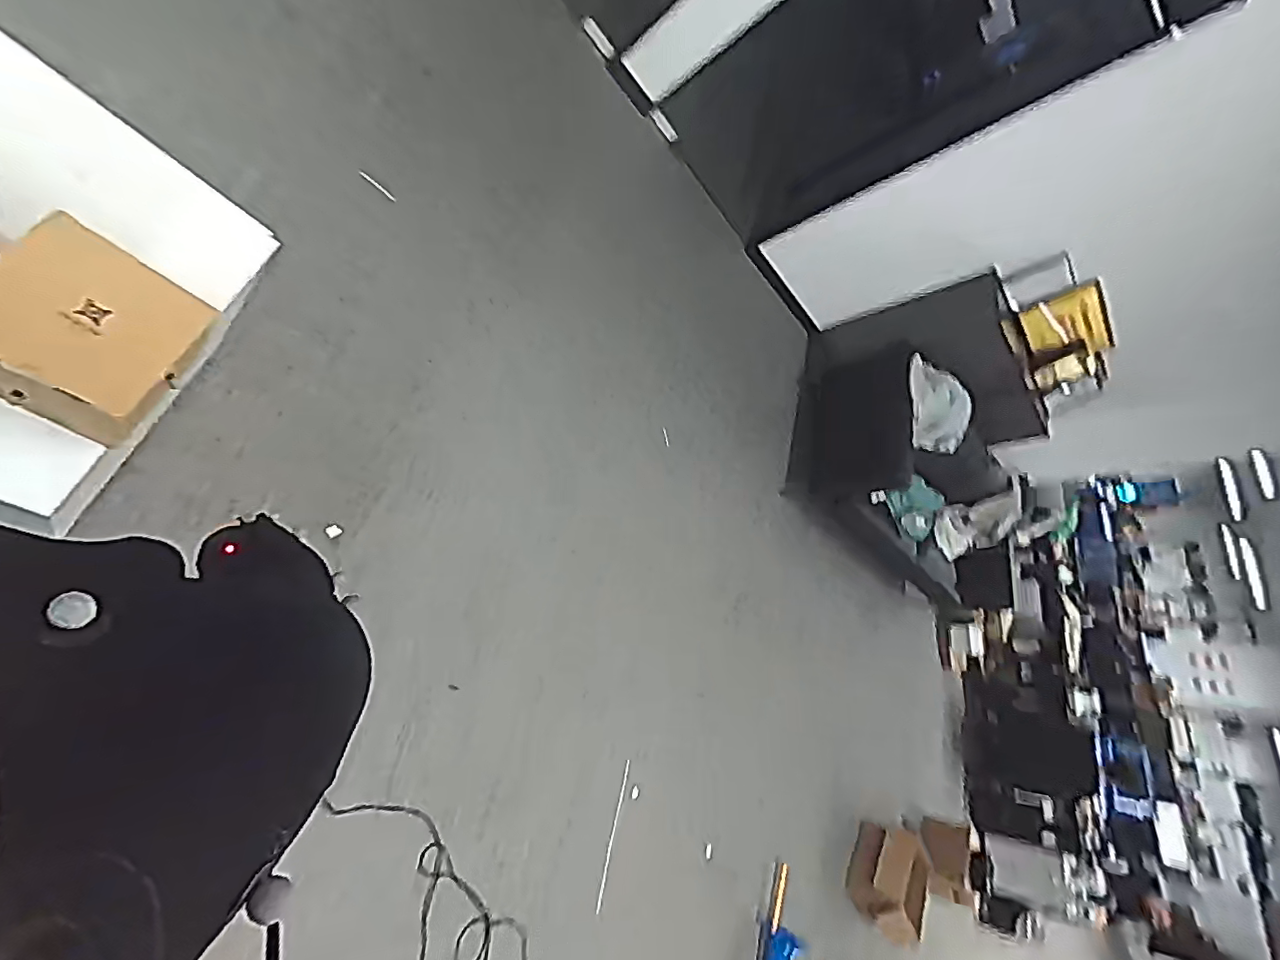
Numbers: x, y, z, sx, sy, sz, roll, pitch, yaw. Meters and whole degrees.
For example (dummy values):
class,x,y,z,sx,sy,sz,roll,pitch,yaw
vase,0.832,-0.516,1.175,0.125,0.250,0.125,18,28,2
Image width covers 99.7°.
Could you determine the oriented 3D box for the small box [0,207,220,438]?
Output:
class,x,y,z,sx,sy,sz,roll,pitch,yaw
small box,-0.658,-0.174,0.646,0.168,0.176,0.179,40,56,-34
